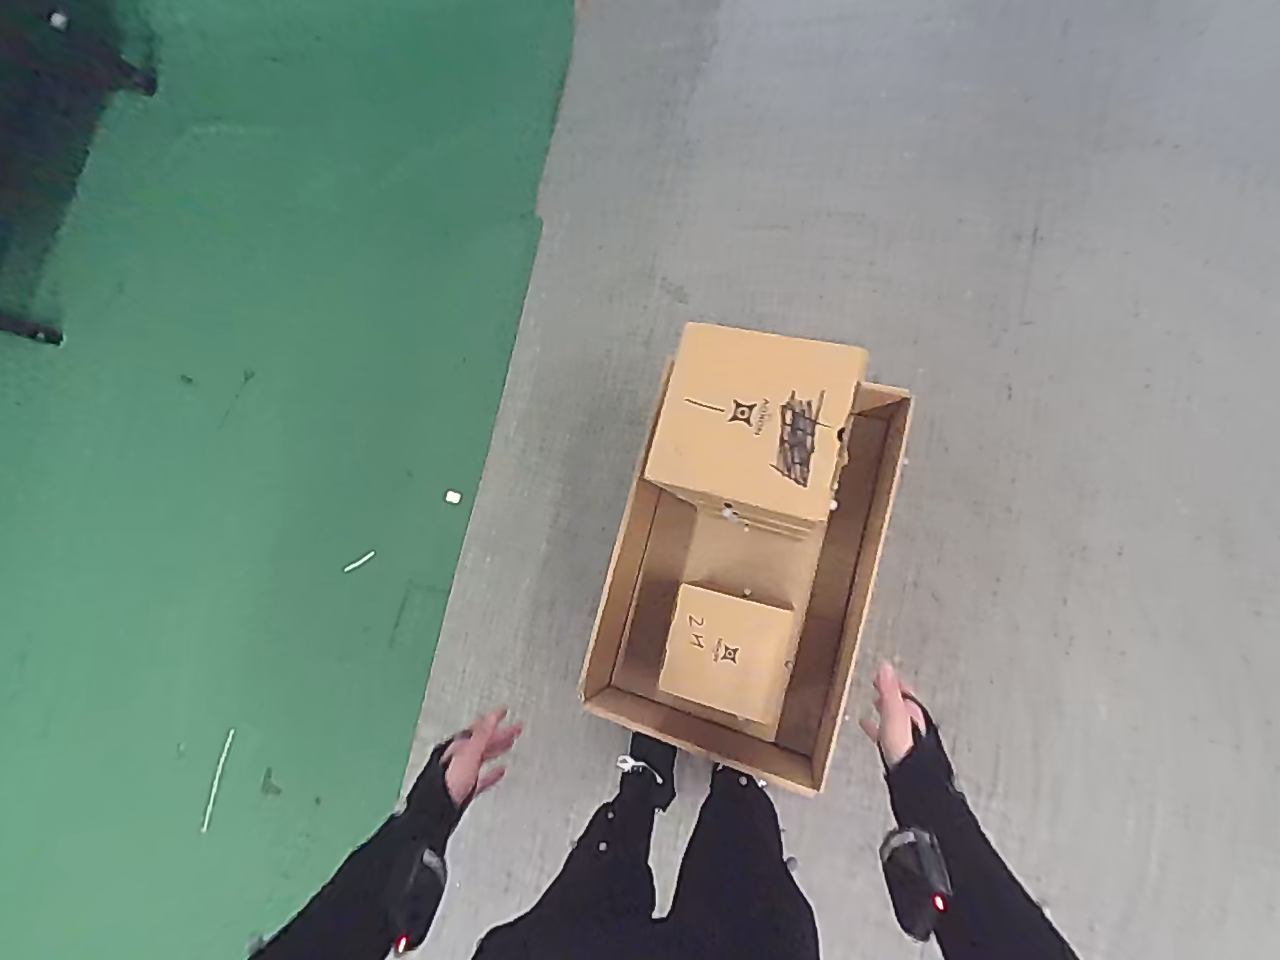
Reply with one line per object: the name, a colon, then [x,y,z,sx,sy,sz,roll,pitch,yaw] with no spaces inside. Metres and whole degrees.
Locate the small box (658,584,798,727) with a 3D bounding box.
small box: [0.147,0.268,0.874,0.179,0.176,0.168,13,84,16]

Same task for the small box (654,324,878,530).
small box: [0.136,-0.047,0.589,0.179,0.176,0.168,15,86,17]

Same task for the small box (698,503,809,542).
small box: [0.213,0.003,0.905,0.179,0.176,0.168,17,86,15]
